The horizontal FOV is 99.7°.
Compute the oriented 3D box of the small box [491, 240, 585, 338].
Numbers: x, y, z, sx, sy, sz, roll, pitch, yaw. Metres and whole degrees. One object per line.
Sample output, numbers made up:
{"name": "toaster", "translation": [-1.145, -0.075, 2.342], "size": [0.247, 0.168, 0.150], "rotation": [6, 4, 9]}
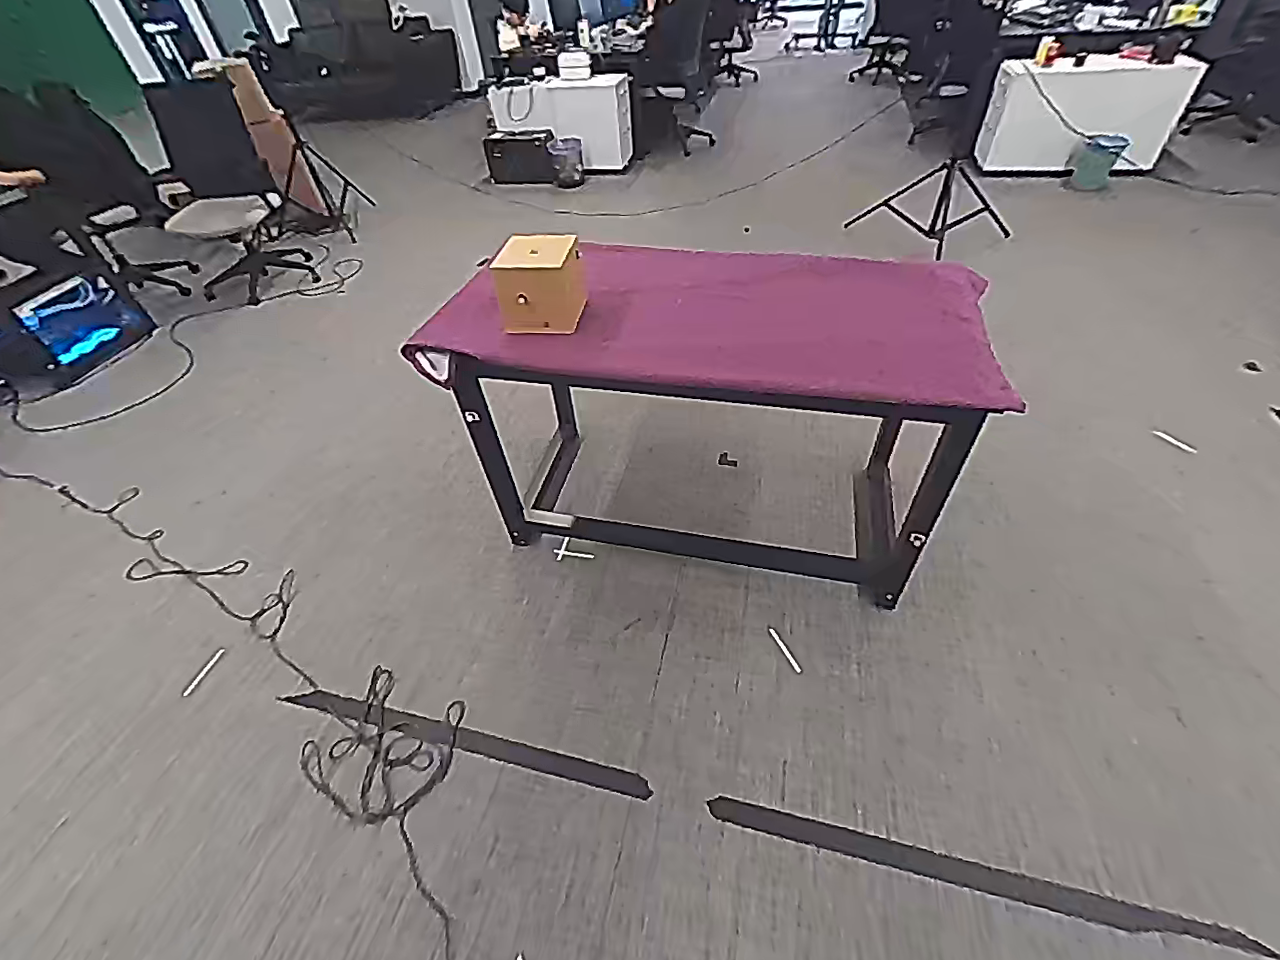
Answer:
{"name": "small box", "translation": [-0.235, -0.455, 1.297], "size": [0.168, 0.176, 0.179], "rotation": [2, 45, 8]}
